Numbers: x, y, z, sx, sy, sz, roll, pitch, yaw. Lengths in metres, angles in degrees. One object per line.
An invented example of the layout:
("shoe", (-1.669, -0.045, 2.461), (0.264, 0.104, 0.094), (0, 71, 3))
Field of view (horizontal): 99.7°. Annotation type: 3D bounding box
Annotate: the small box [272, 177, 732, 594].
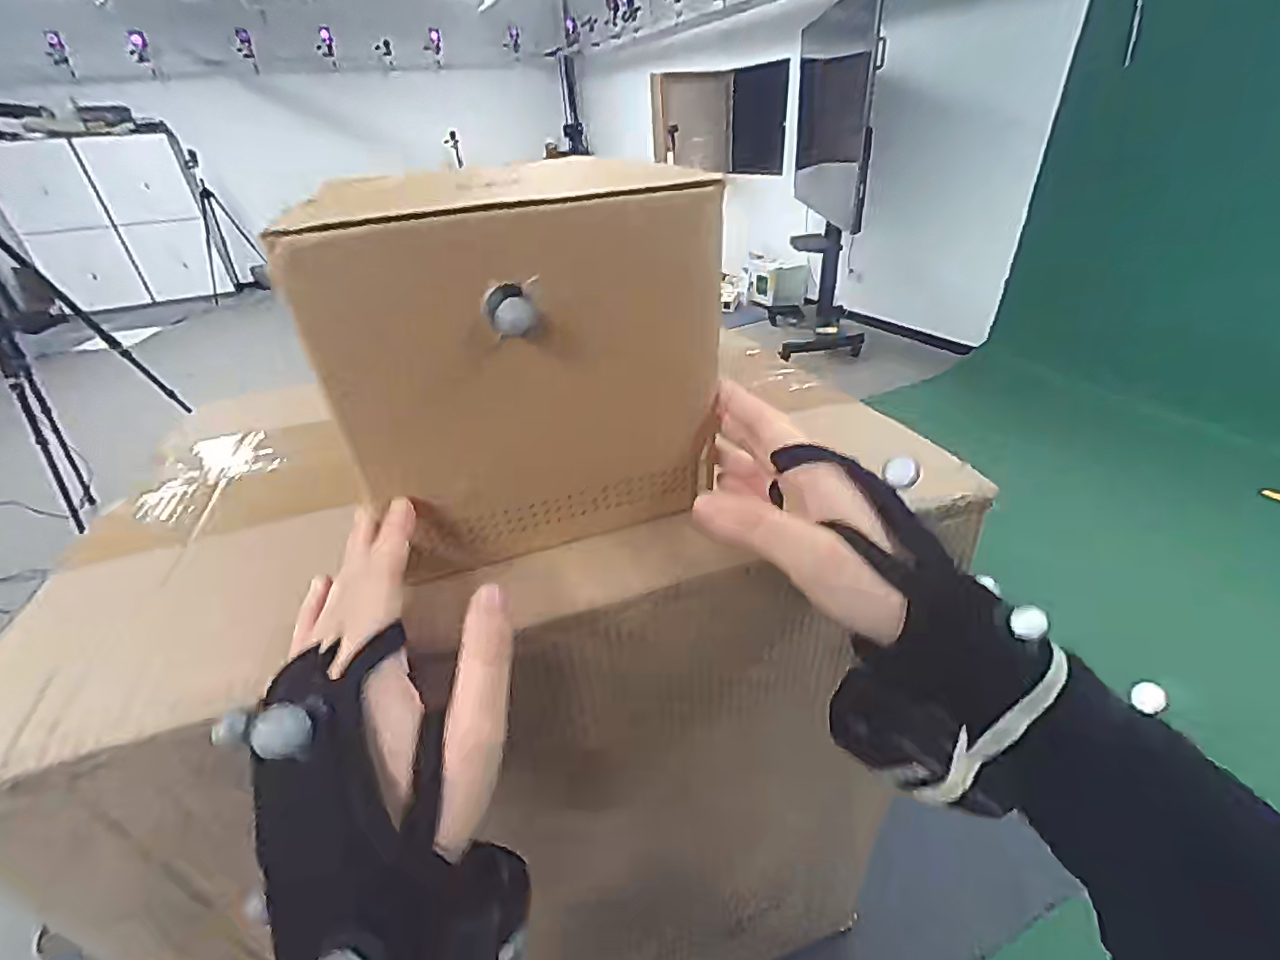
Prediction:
("small box", (-0.064, -0.064, 0.311), (0.179, 0.176, 0.168), (-14, 36, -13))
